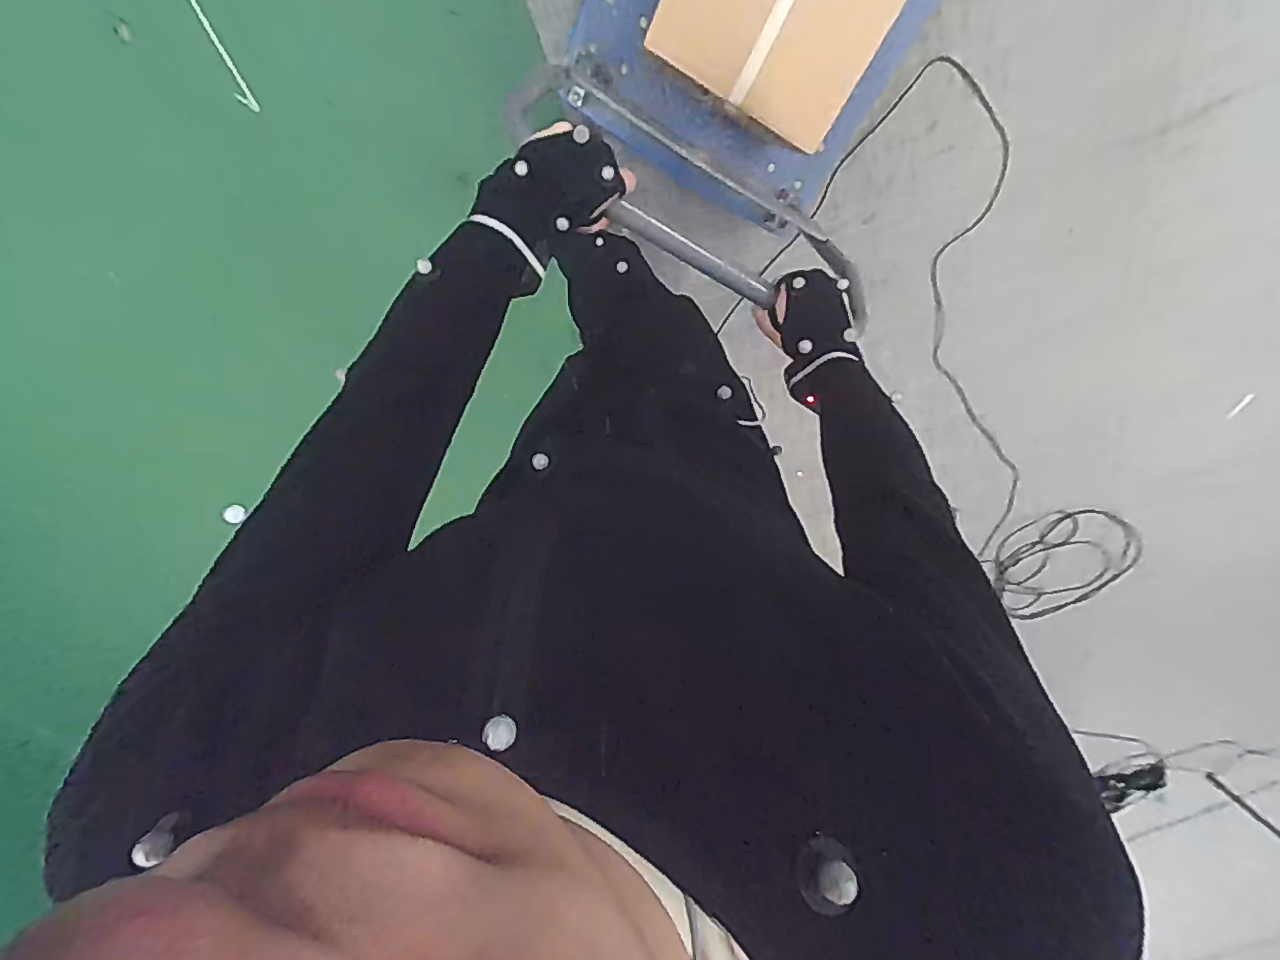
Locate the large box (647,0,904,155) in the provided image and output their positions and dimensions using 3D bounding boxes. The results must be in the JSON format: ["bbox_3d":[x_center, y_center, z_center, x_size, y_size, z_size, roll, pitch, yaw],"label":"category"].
[{"bbox_3d":[0.234,-0.811,0.869,0.320,0.320,0.408,23,121,-15],"label":"large box"}]
